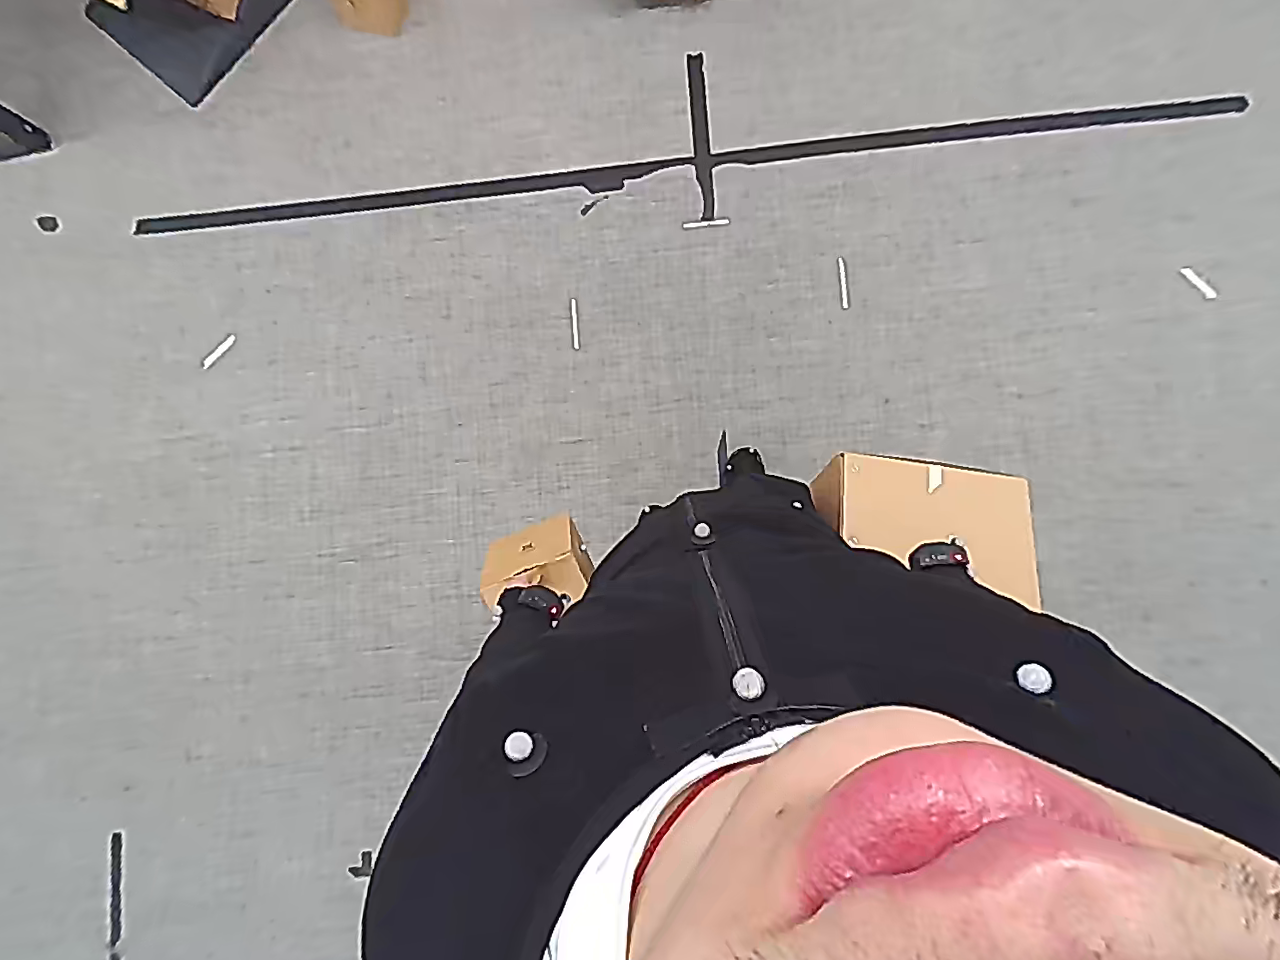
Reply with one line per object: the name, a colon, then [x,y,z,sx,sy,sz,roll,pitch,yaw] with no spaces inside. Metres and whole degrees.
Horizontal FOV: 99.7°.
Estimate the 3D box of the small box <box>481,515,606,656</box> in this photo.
small box: [-0.170,0.196,0.989,0.168,0.179,0.176,-22,110,-1]
